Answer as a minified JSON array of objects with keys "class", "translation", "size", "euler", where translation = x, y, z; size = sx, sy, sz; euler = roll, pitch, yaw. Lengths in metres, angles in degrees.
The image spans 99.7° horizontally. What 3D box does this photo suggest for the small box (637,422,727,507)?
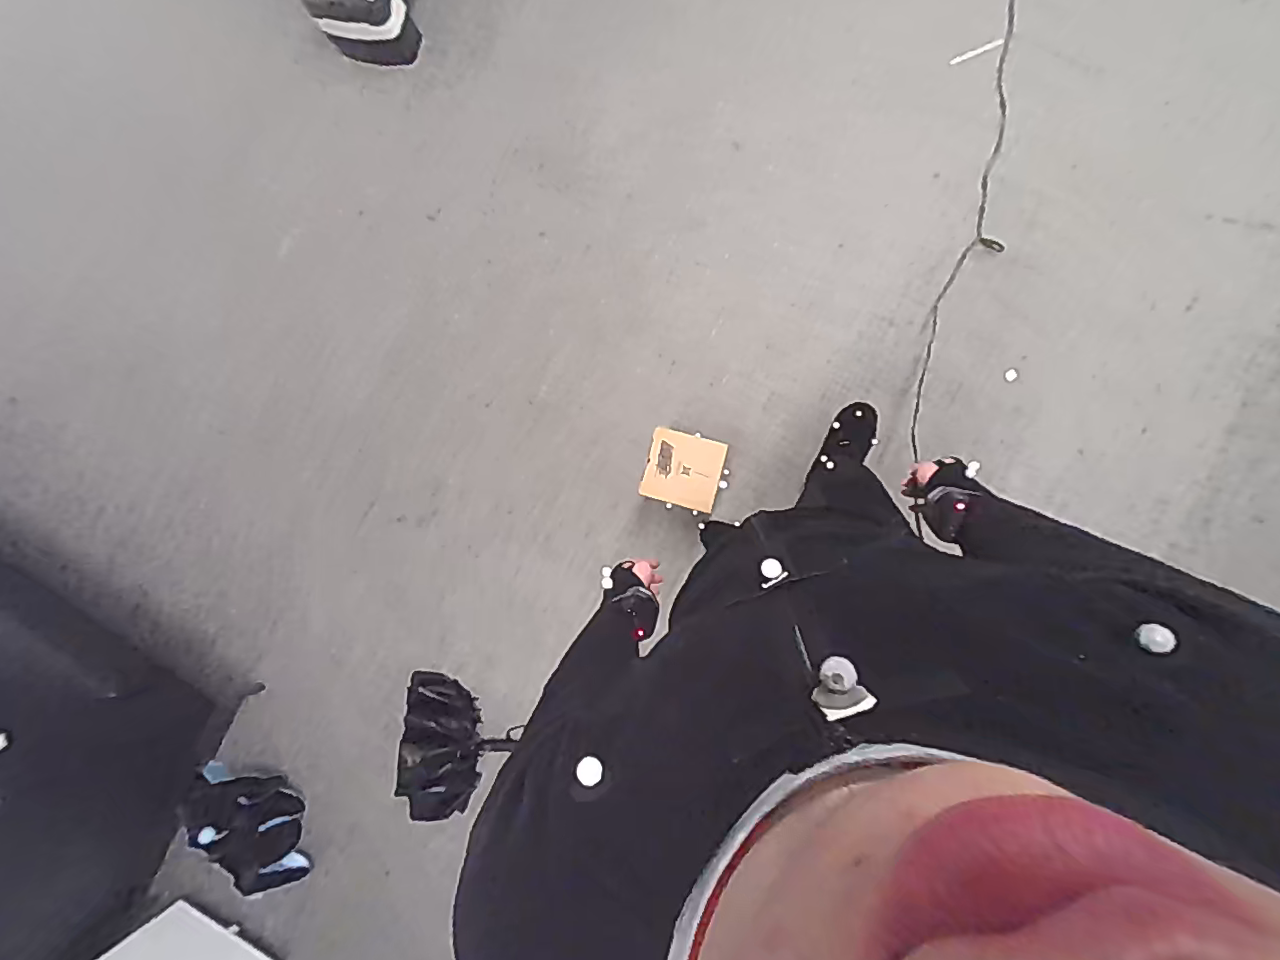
[{"class":"small box","translation":[0.108,-0.033,1.327],"size":[0.179,0.176,0.168],"euler":[15,91,8]}]
